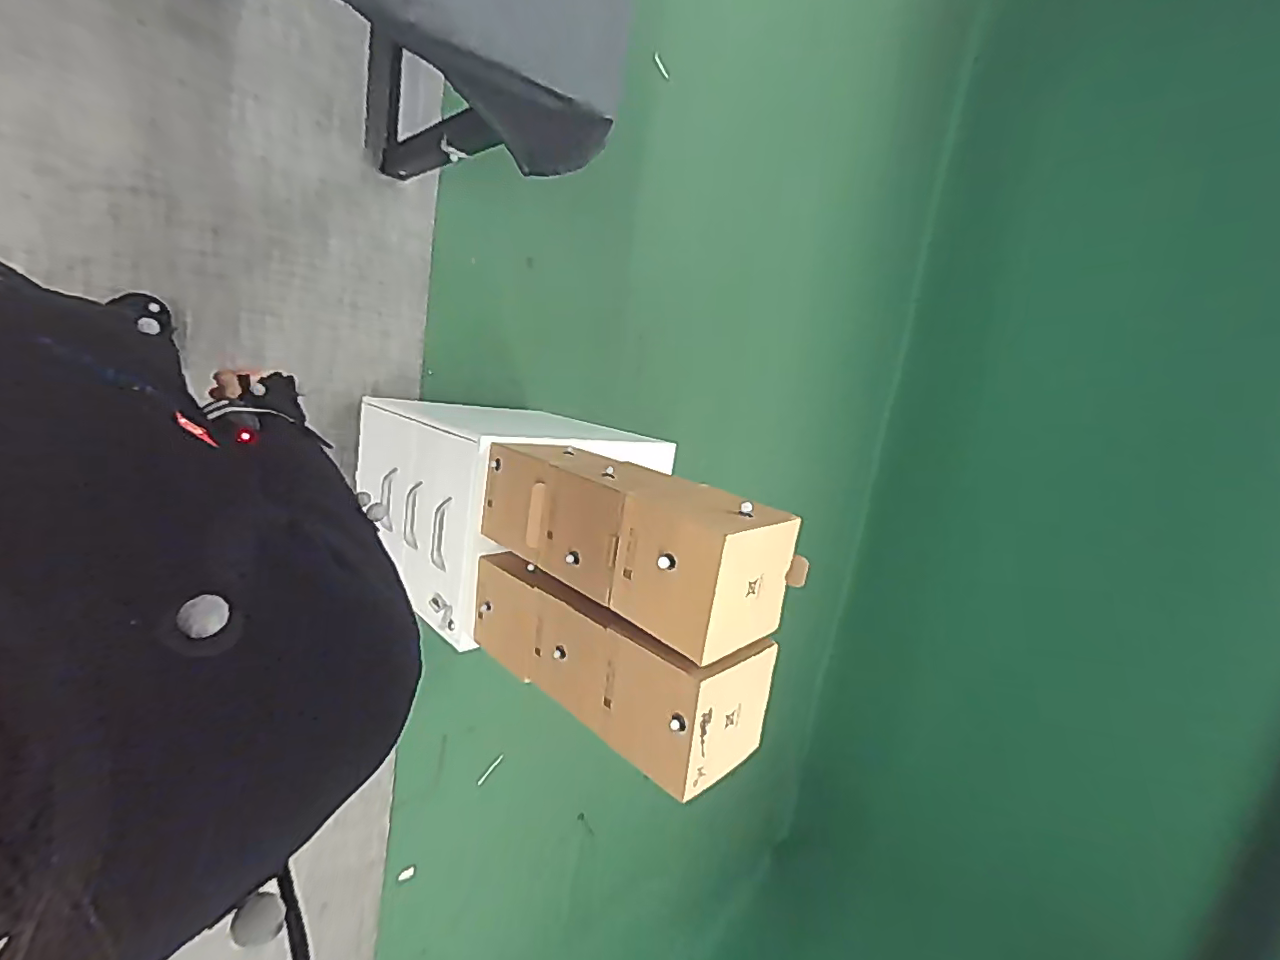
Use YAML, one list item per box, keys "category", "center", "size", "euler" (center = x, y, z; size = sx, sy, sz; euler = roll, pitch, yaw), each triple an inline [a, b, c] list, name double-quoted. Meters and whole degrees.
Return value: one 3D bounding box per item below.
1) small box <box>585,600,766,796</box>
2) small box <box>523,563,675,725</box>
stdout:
- category: "small box"
  center: [0.049, 0.285, 0.758]
  size: [0.179, 0.176, 0.168]
  euler: [-5, 106, -48]
- category: "small box"
  center: [-0.069, 0.248, 0.865]
  size: [0.179, 0.176, 0.168]
  euler: [-8, 108, -46]
